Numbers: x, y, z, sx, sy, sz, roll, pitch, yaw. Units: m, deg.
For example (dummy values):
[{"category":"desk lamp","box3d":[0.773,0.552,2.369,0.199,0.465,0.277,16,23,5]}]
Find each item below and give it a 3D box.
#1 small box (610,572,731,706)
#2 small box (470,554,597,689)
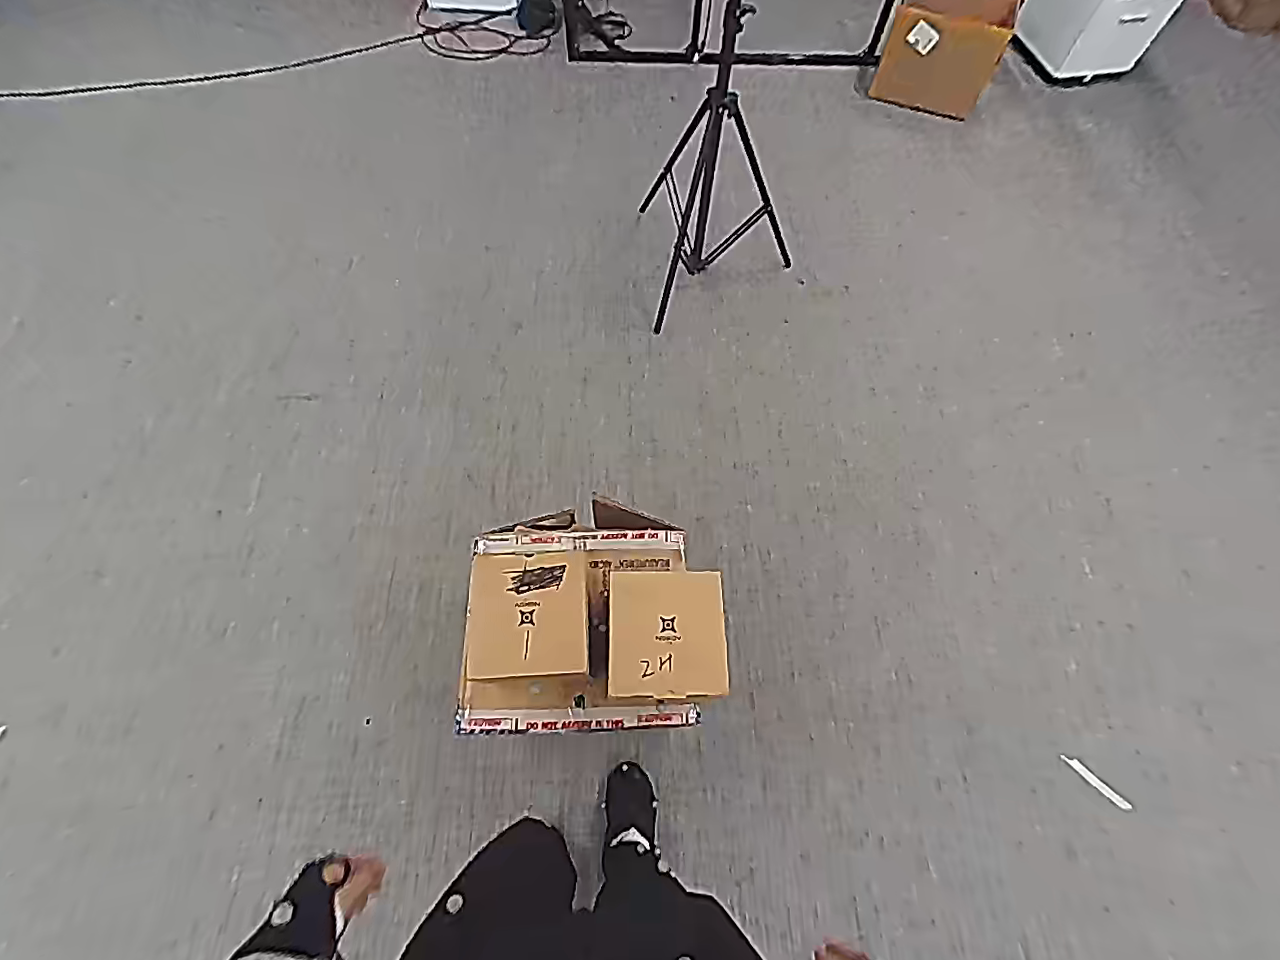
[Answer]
[{"category":"small box","box3d":[0.037,0.250,0.836,0.168,0.176,0.179,0,66,-3]},{"category":"small box","box3d":[-0.156,0.224,0.841,0.168,0.176,0.179,-3,67,-2]}]
